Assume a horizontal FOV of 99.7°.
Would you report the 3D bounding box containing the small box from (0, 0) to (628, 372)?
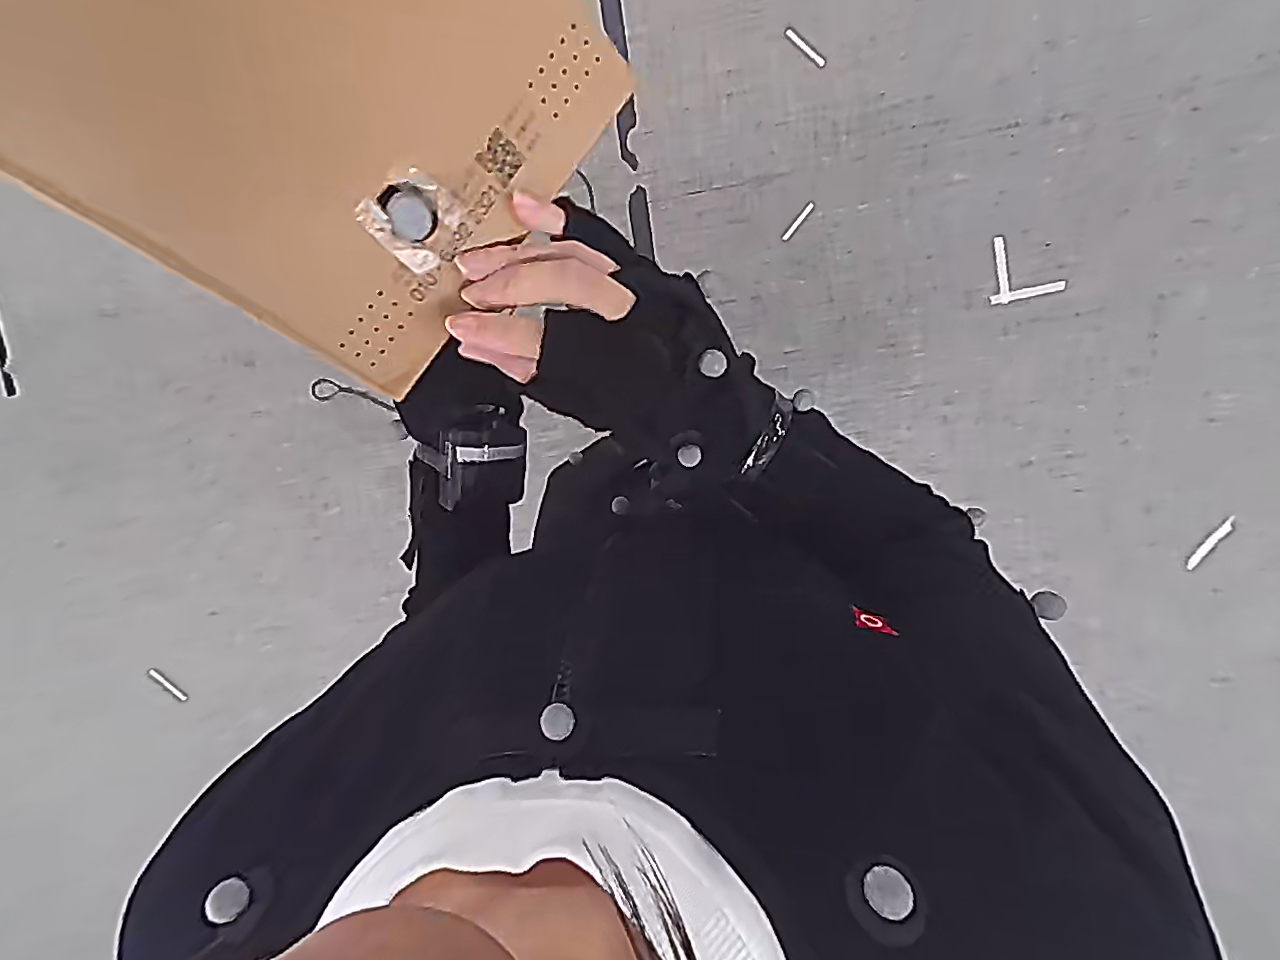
[{"bbox_3d":[-0.138,-0.177,0.256,0.176,0.179,0.168,34,99,-39],"label":"small box"}]
